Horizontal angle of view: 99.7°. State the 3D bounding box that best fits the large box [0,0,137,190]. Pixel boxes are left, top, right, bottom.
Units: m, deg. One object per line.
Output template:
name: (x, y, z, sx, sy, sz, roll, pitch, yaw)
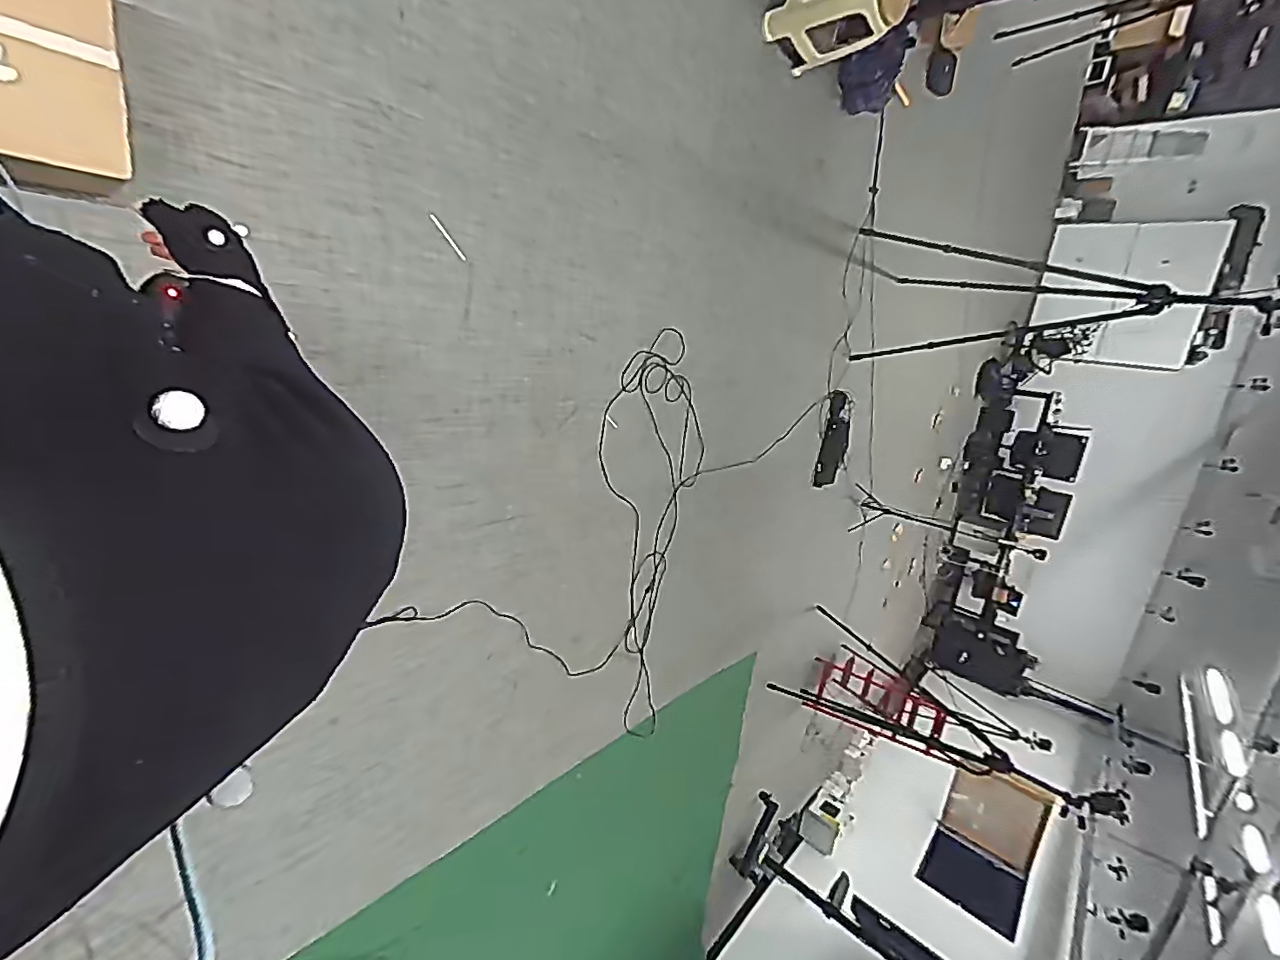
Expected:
large box: (-1.002, -0.626, 0.741, 0.408, 0.320, 0.320, -10, 113, -47)
